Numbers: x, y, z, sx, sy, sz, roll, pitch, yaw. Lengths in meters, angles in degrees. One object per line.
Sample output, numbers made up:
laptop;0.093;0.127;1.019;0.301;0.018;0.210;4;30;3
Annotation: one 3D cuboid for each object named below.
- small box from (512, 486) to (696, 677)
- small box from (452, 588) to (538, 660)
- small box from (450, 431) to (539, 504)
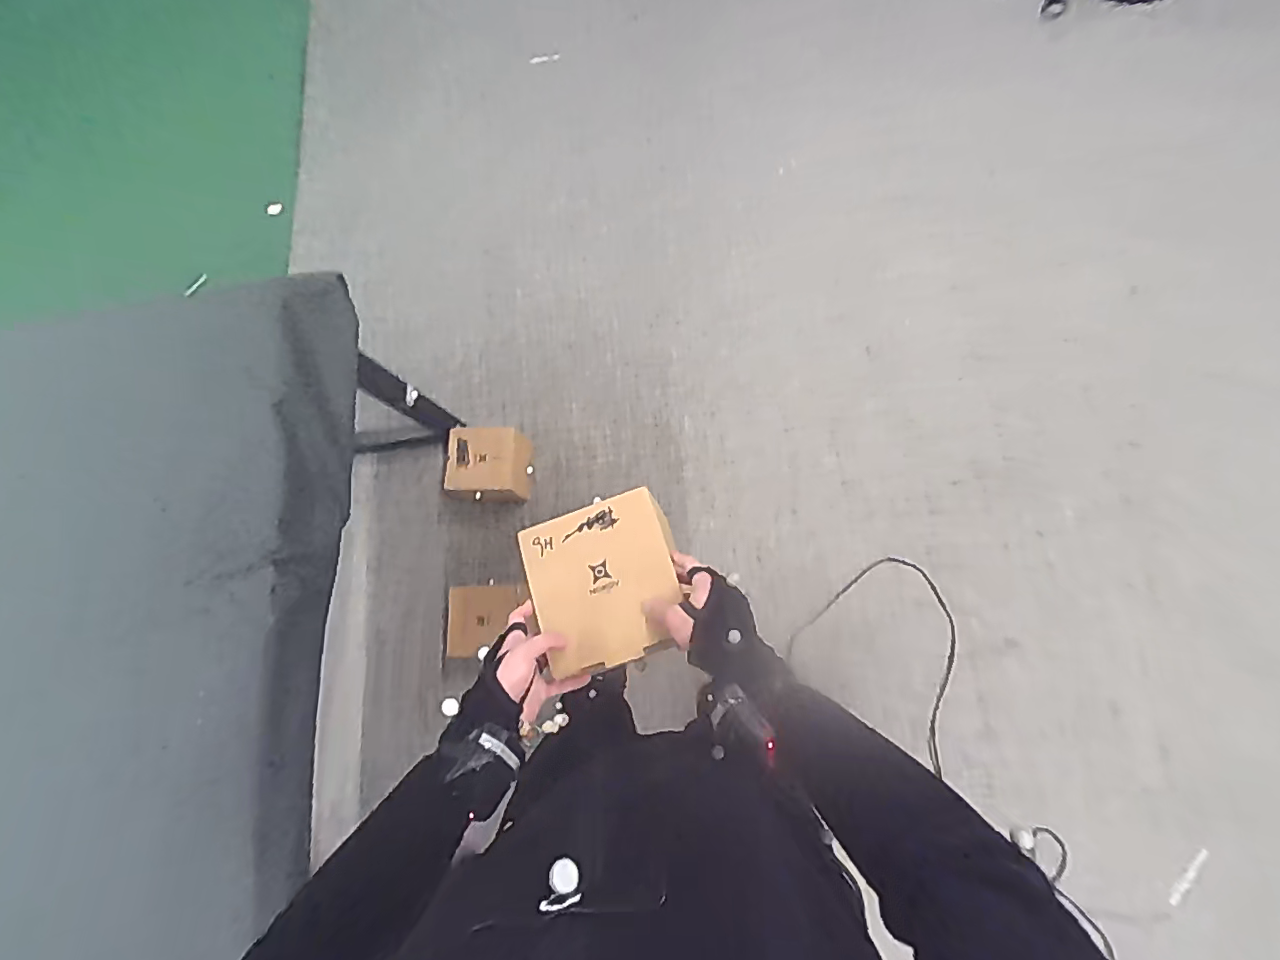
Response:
small box;-0.036;0.132;0.680;0.168;0.176;0.179;-20;70;5
small box;-0.354;0.362;1.373;0.179;0.176;0.168;-5;76;9
small box;-0.388;-0.029;1.461;0.179;0.176;0.168;-1;77;7
